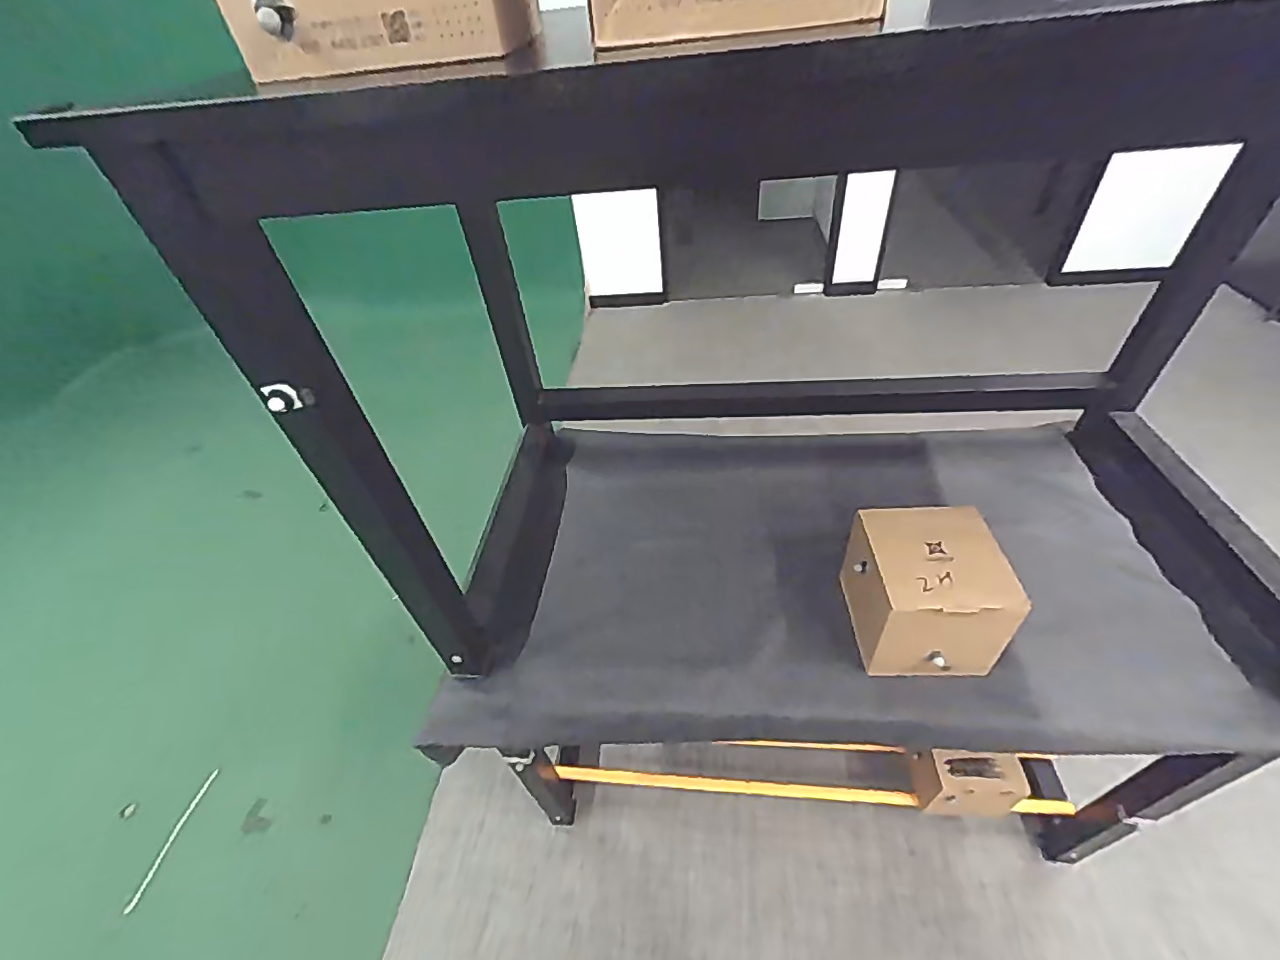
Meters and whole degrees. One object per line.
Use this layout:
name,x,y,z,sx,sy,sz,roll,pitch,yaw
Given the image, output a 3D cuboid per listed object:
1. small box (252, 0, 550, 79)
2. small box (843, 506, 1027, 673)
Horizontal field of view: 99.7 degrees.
small box,-0.162,-0.380,0.358,0.168,0.176,0.179,-2,43,3
small box,0.406,0.156,0.785,0.168,0.176,0.179,-2,42,6
